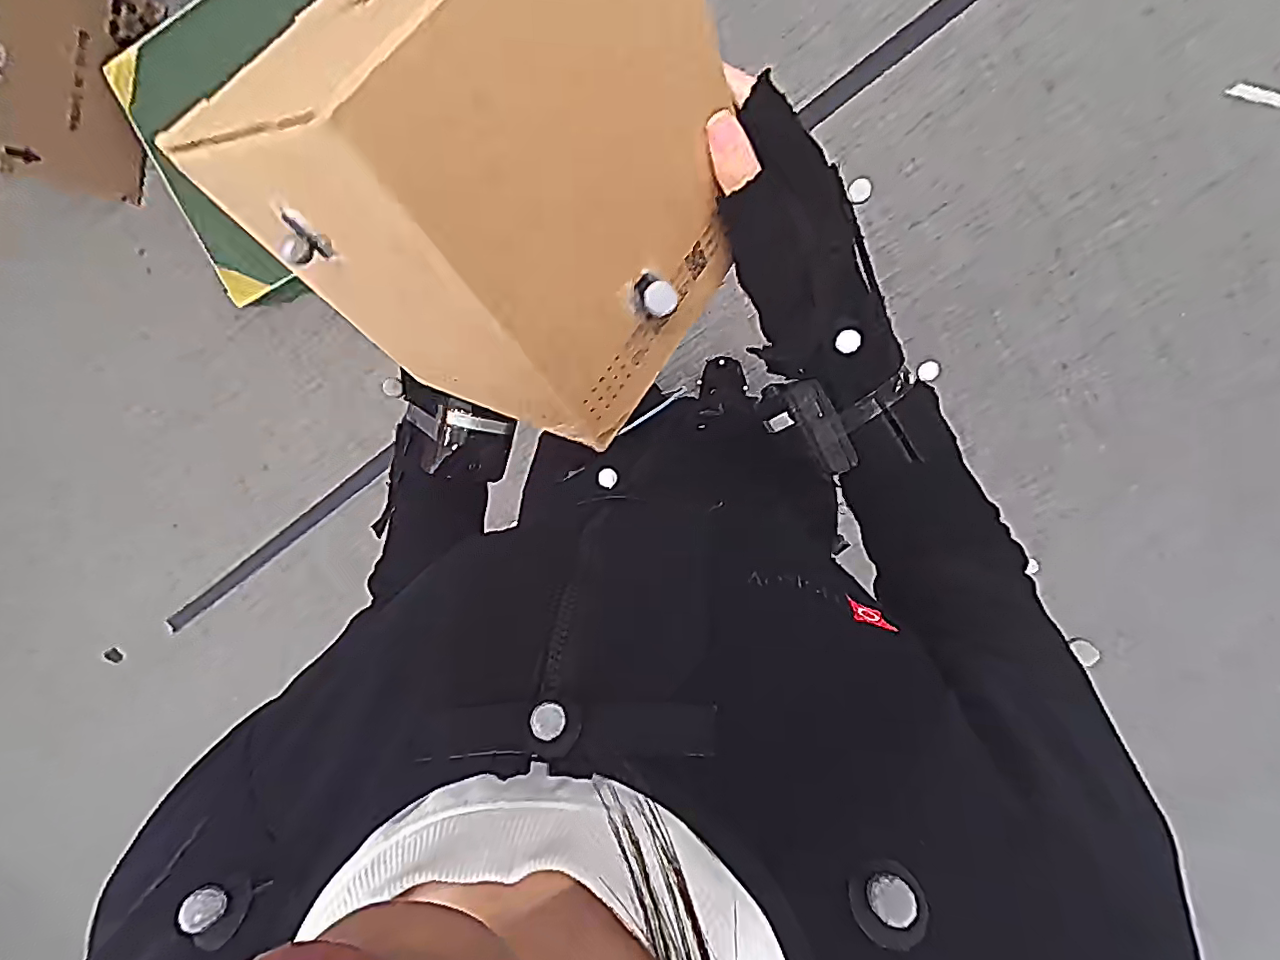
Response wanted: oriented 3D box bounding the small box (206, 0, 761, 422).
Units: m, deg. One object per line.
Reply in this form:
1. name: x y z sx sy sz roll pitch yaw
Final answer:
1. small box: -0.062 -0.153 0.283 0.179 0.176 0.168 22 72 35
